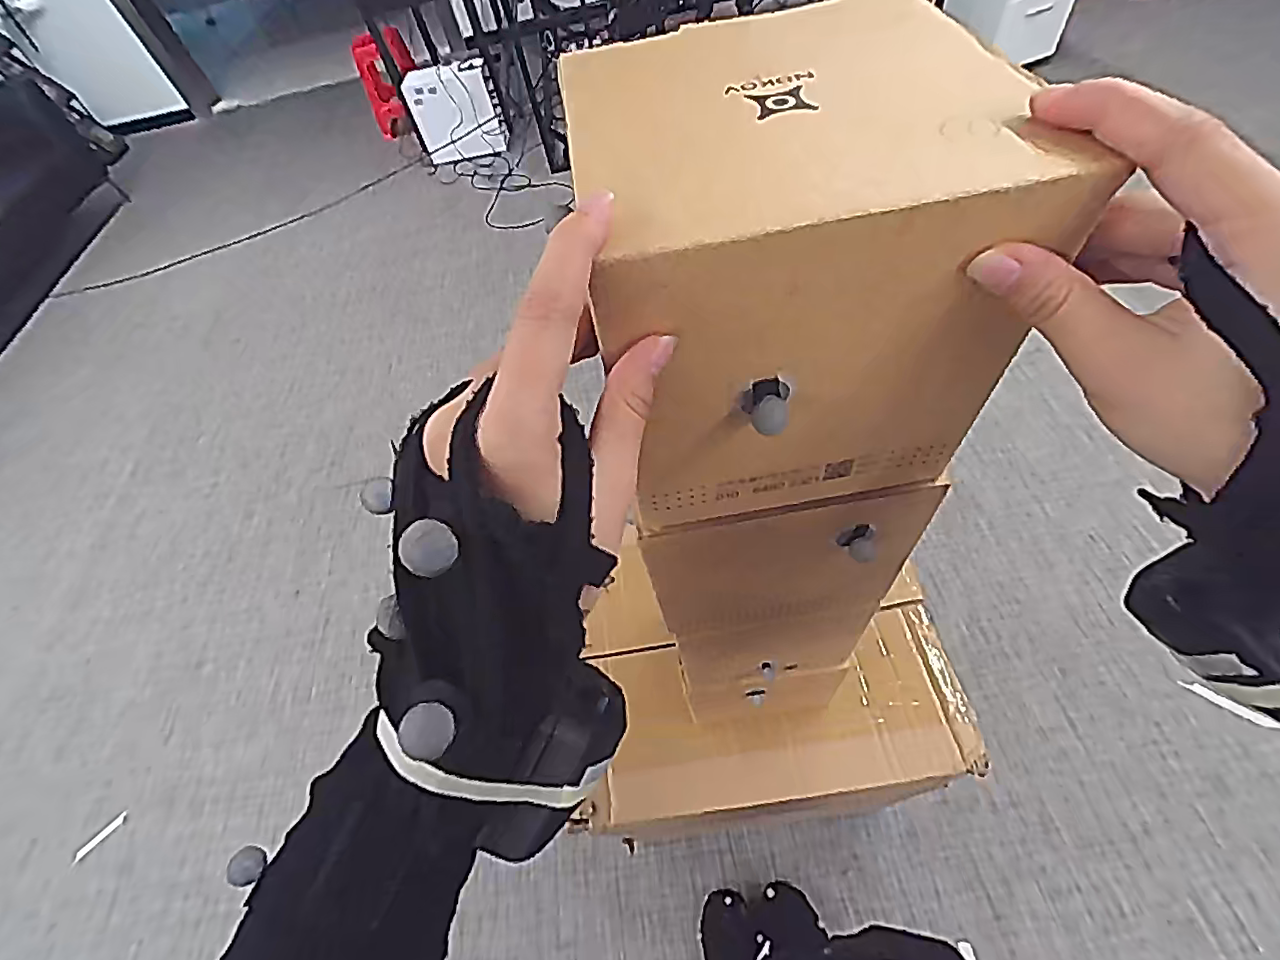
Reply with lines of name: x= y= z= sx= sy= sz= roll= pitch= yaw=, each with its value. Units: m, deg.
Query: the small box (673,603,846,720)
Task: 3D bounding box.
small box: x=0.134 y=0.186 z=0.671 sx=0.179 sy=0.176 sz=0.168 roll=-10 pitch=55 yaw=3

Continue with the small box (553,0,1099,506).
small box: x=0.059 y=-0.101 z=0.276 sx=0.168 sy=0.176 sz=0.179 roll=-10 pitch=54 yaw=2

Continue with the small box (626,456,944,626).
small box: x=0.084 y=-0.005 z=0.407 sx=0.179 sy=0.176 sz=0.168 roll=-11 pitch=55 yaw=4
